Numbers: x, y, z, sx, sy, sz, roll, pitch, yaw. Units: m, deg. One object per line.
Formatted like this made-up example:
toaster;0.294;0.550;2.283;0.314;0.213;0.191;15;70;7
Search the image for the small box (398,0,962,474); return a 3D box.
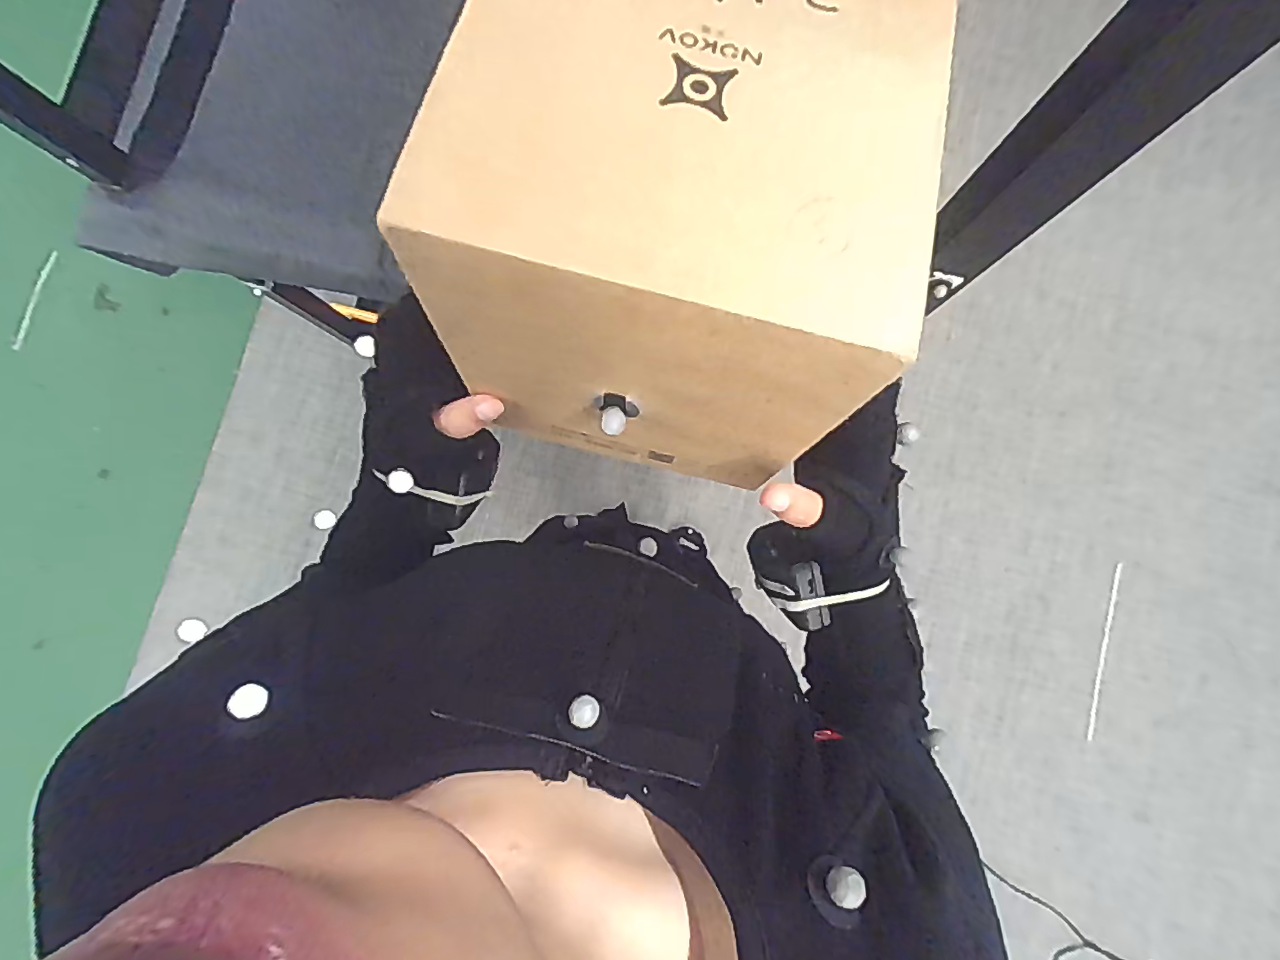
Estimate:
small box;0.018;-0.116;0.262;0.168;0.176;0.179;15;75;-2
